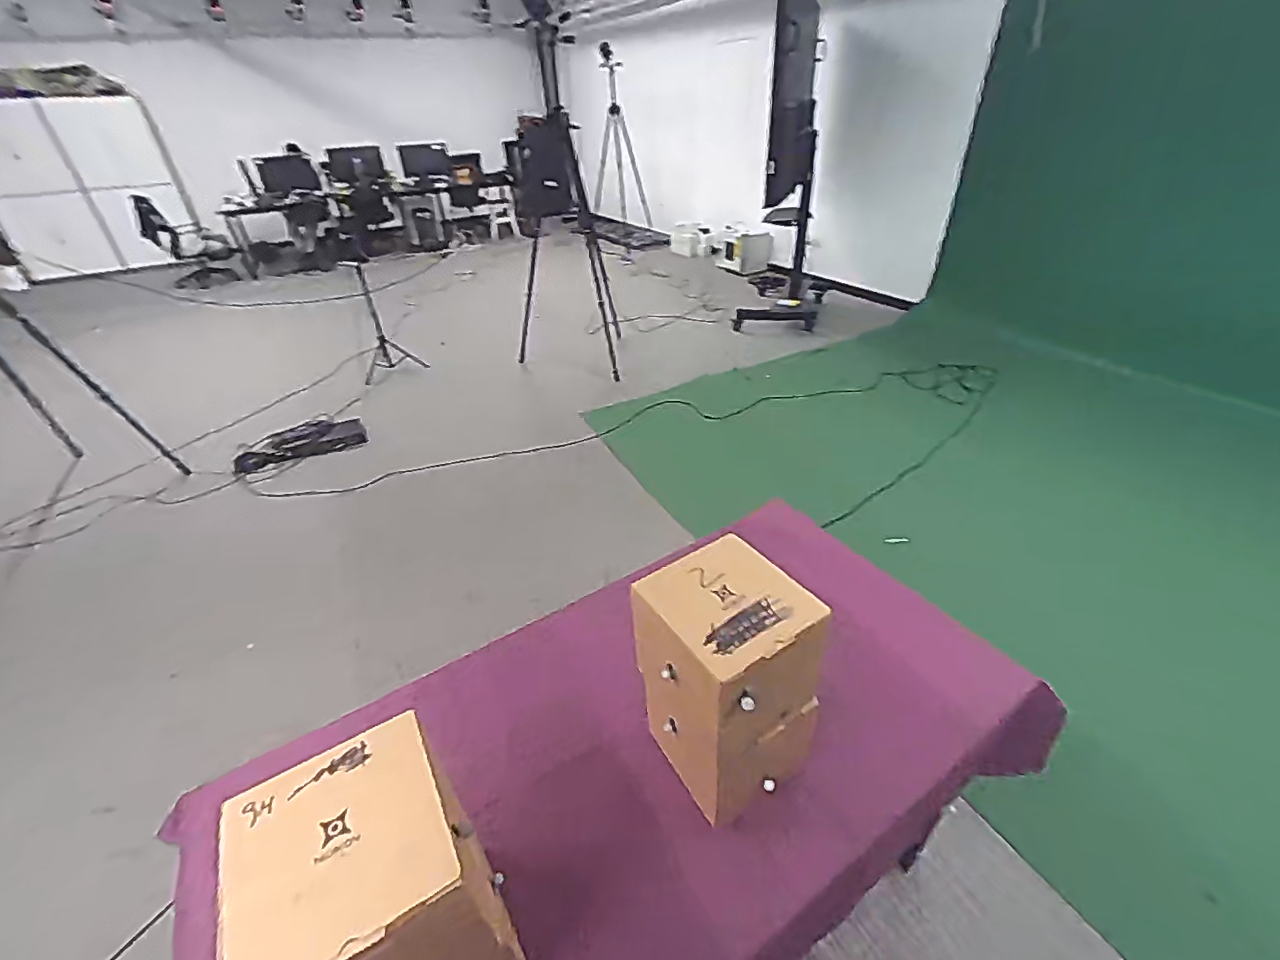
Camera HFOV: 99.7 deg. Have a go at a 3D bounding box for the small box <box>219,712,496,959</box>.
[{"bbox_3d":[-0.246,0.361,0.491,0.168,0.176,0.179,-21,40,-24],"label":"small box"}]

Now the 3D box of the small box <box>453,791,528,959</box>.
[{"bbox_3d":[-0.234,0.495,0.587,0.168,0.176,0.179,-23,39,-26],"label":"small box"}]

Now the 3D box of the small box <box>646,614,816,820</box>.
[{"bbox_3d":[0.122,0.335,0.777,0.168,0.176,0.179,-22,39,-23],"label":"small box"}]
